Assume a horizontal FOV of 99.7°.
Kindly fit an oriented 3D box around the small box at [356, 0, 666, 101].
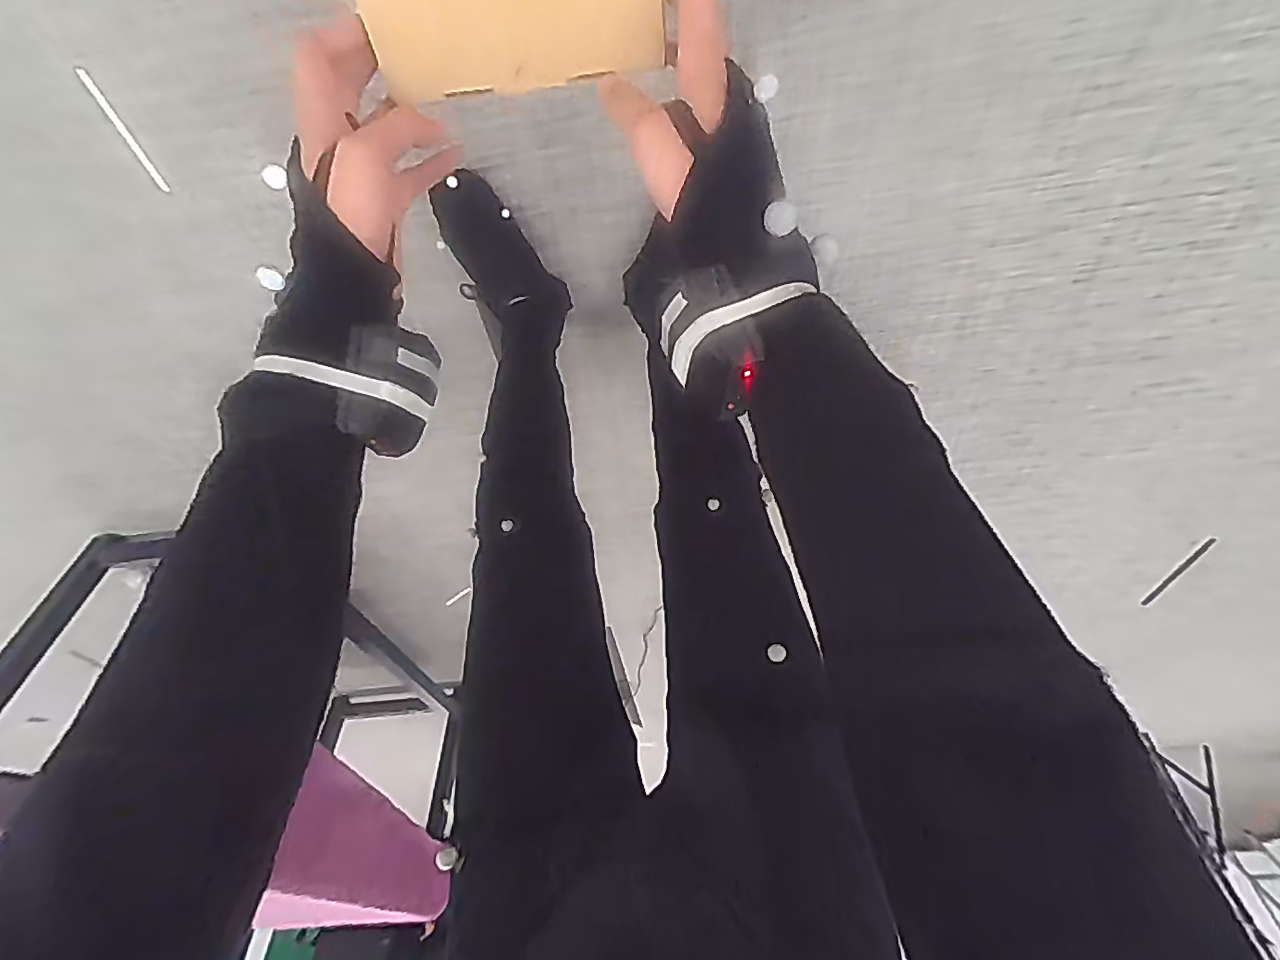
[{"bbox_3d":[-0.077,-0.348,0.308,0.168,0.176,0.179,-5,138,3],"label":"small box"}]
